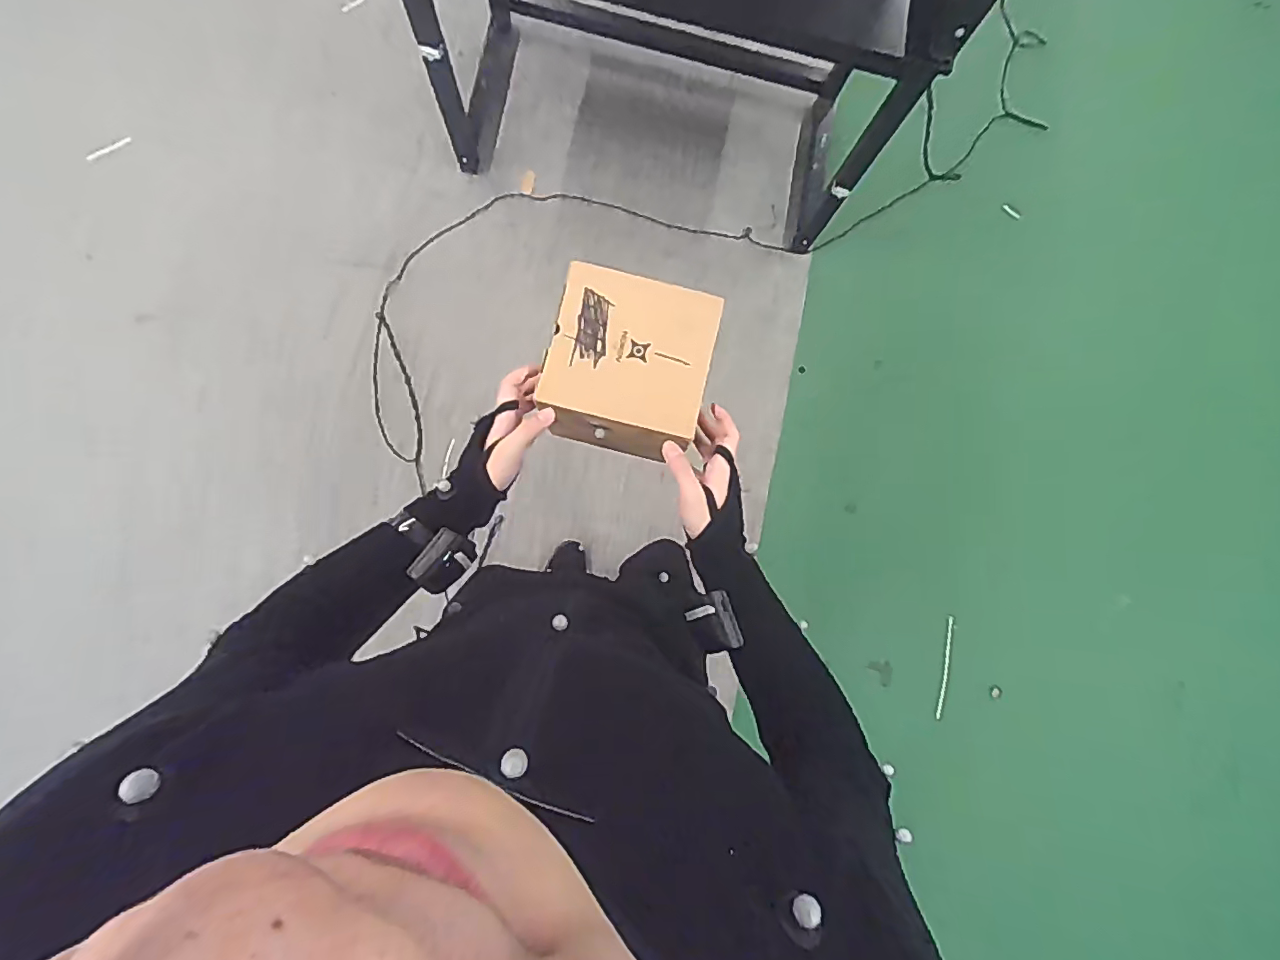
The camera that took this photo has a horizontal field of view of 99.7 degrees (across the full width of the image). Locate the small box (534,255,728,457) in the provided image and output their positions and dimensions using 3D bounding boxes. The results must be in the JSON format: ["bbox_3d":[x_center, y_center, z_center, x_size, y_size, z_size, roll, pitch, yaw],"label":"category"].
[{"bbox_3d":[-0.011,-0.134,0.650,0.179,0.176,0.168,14,82,-1],"label":"small box"}]
